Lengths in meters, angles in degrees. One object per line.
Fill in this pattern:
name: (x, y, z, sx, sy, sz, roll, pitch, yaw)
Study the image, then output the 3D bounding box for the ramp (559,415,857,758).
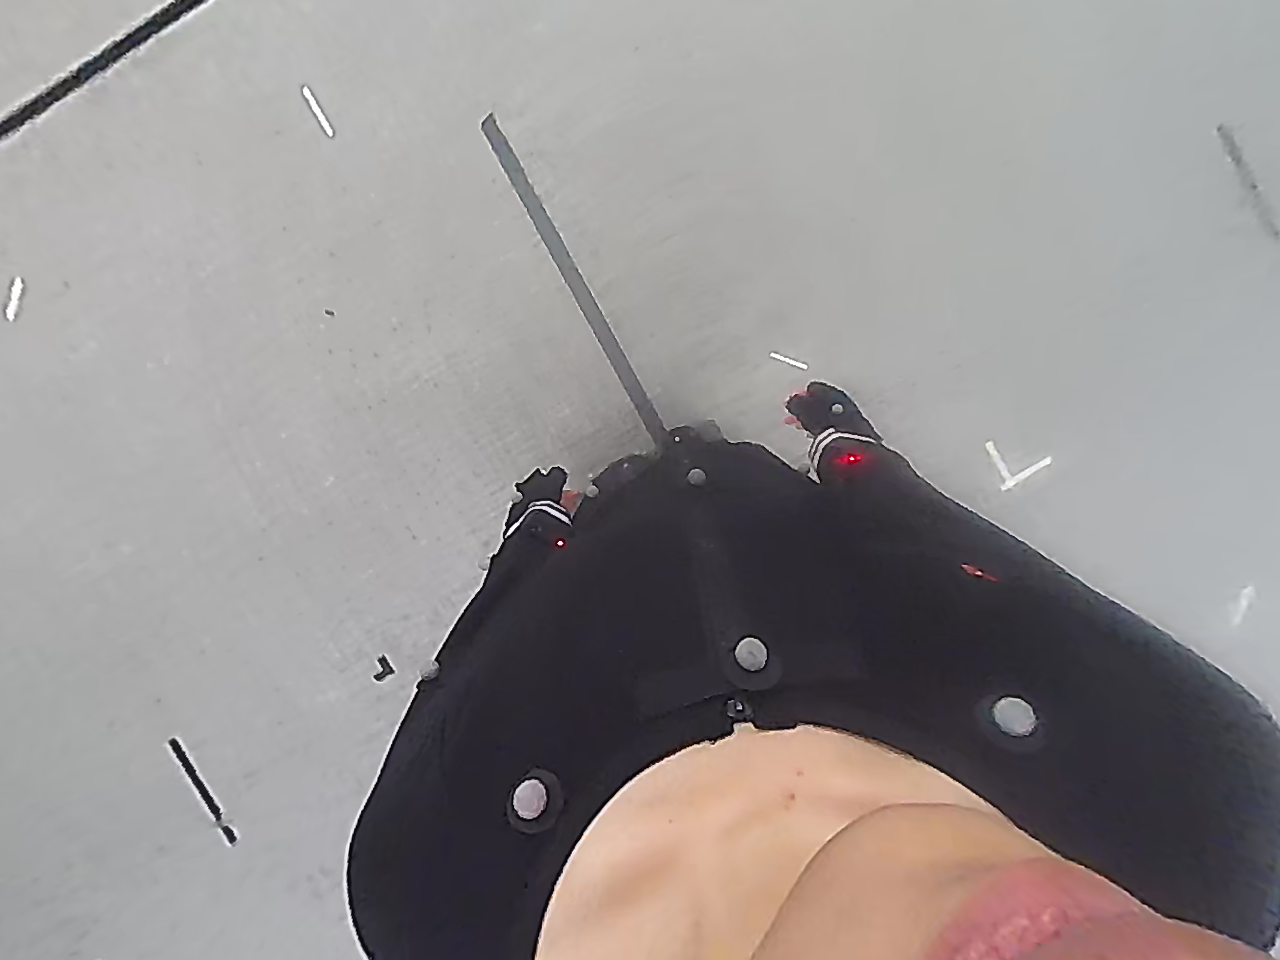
ramp: (0.233, 0.350, 1.589, 0.509, 0.206, 0.991, -32, 94, 2)
